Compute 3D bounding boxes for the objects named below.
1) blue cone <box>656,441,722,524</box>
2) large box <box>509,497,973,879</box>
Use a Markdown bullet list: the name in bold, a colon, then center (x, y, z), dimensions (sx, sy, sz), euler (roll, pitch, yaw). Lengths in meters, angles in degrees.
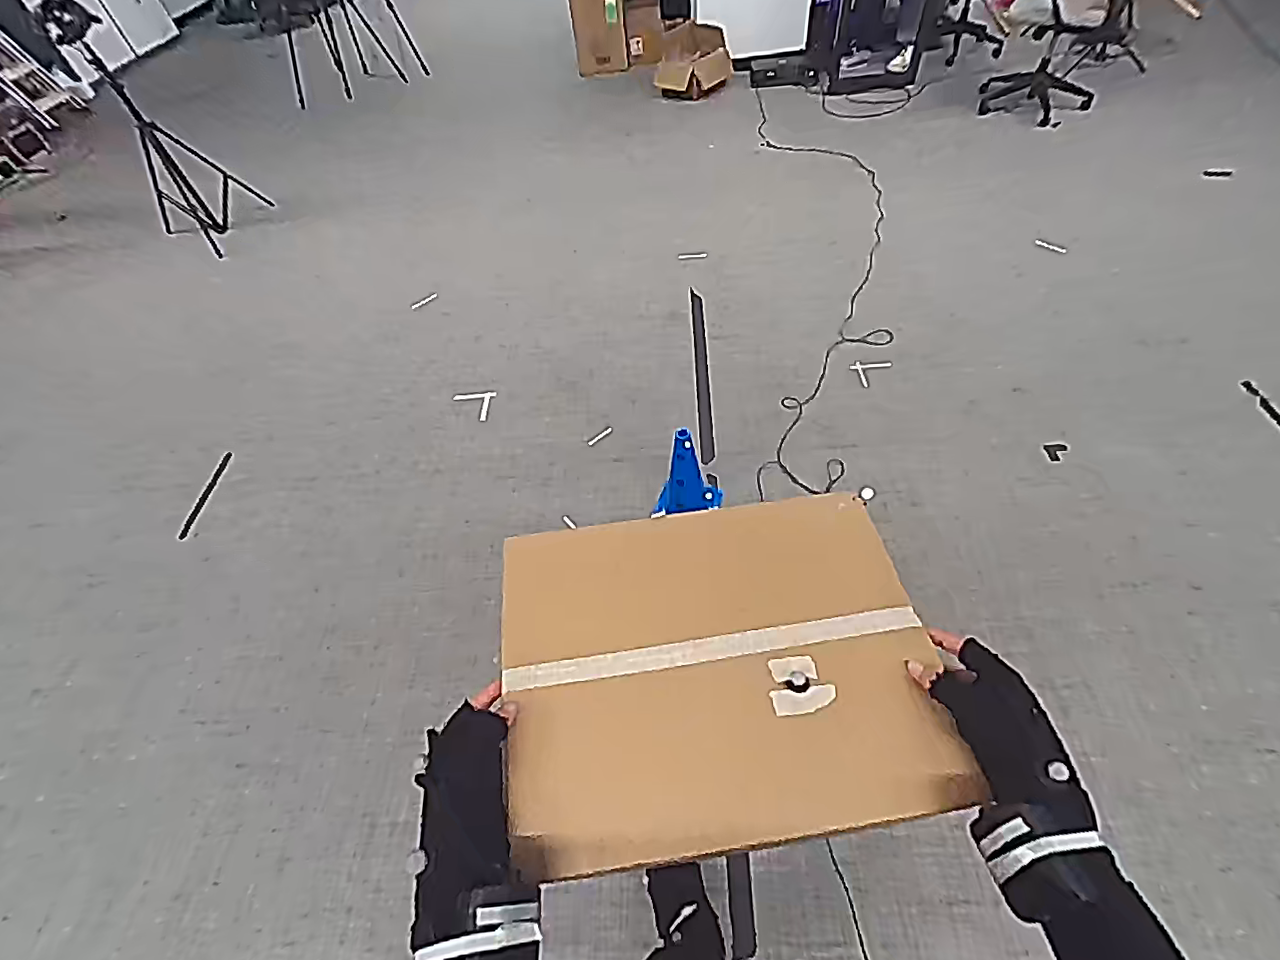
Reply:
- **blue cone**: center (0.142, 0.011, 1.633), dimensions (0.193, 0.380, 0.192), euler (14, 56, 18)
- **large box**: center (0.073, 0.256, 0.654), dimensions (0.408, 0.320, 0.320), euler (-8, 54, -3)
